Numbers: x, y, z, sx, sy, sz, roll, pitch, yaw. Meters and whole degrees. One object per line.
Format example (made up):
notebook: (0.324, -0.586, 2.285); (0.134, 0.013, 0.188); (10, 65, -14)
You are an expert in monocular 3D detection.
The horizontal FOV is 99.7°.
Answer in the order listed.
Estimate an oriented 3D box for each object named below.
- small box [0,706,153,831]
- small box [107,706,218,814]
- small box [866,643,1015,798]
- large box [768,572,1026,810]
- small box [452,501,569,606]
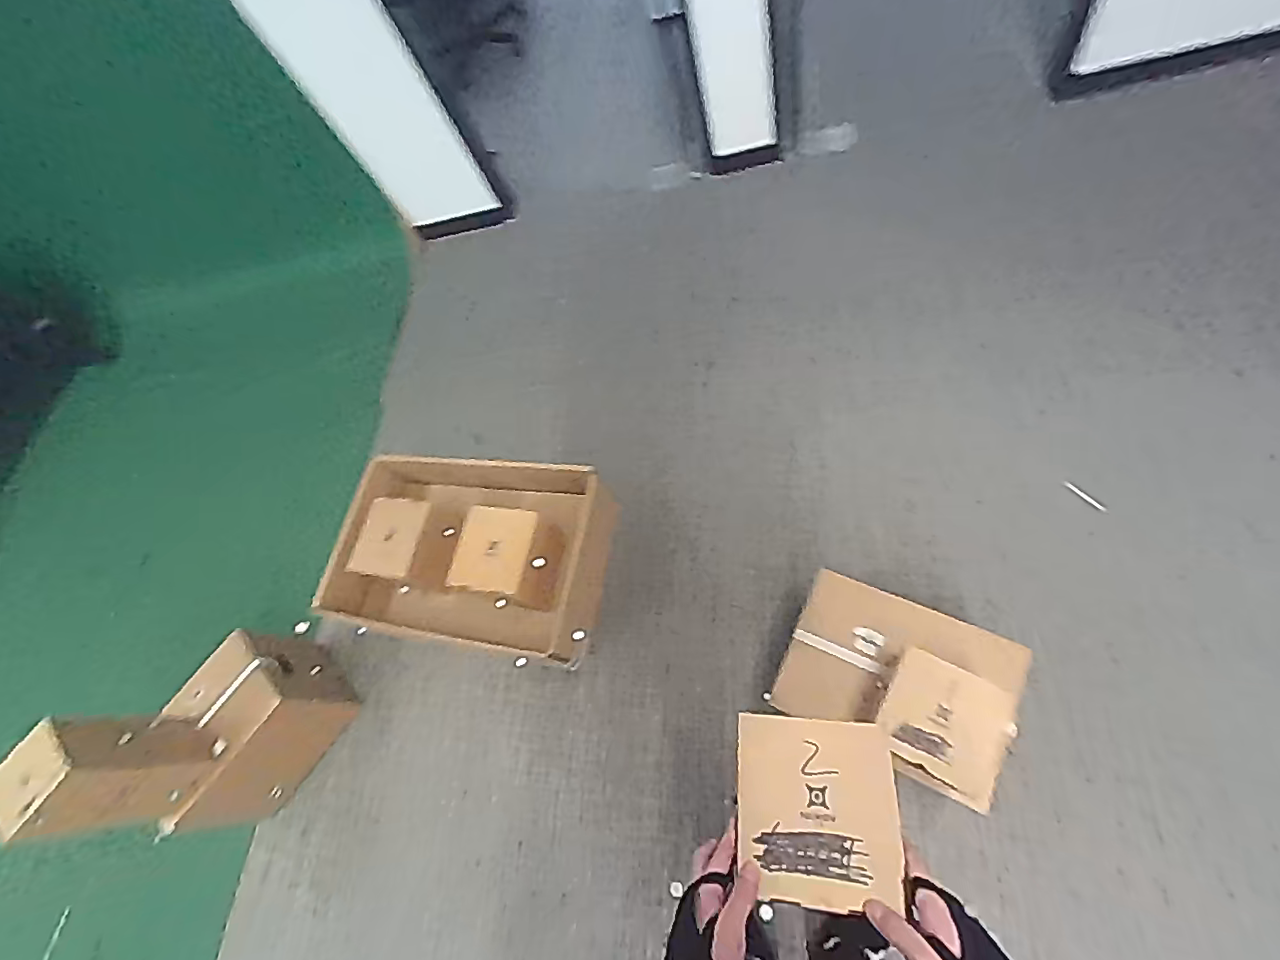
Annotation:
small box: (-1.248, 0.631, 1.196); (0.179, 0.176, 0.168); (33, 79, 27)
small box: (-1.212, 0.692, 1.345); (0.179, 0.176, 0.168); (34, 79, 26)
small box: (0.507, 0.410, 0.936); (0.168, 0.176, 0.179); (25, 77, 26)
large box: (0.541, 0.448, 1.190); (0.408, 0.320, 0.320); (20, 73, 26)
small box: (-0.271, 0.163, 1.176); (0.168, 0.176, 0.179); (5, 69, 19)
